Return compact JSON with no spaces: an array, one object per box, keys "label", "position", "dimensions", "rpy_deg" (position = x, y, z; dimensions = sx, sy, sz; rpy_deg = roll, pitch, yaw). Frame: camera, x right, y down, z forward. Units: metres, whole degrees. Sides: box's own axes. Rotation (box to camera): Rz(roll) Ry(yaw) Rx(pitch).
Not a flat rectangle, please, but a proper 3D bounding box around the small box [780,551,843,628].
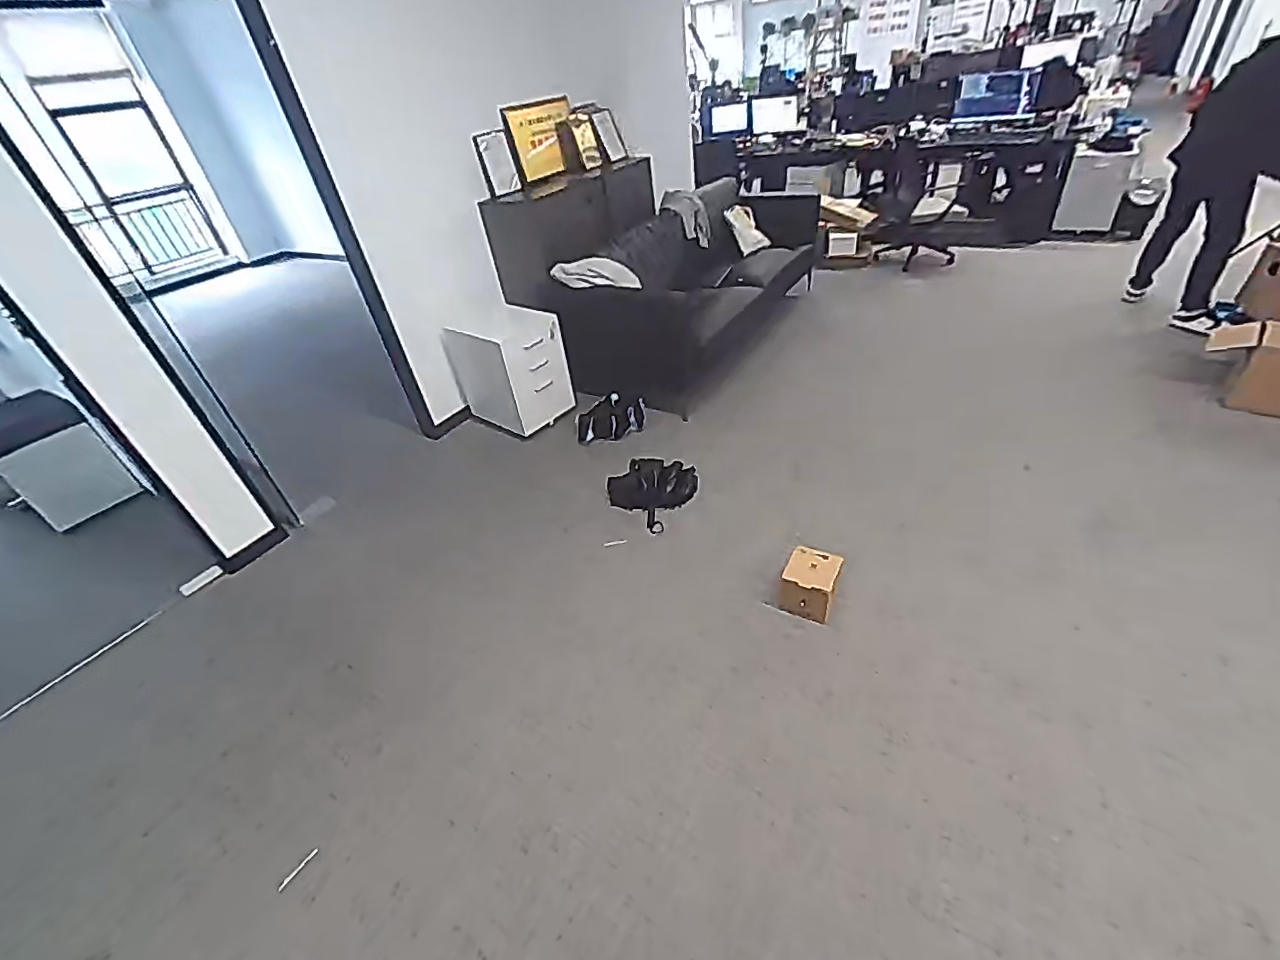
[{"label":"small box","position":[0.597,0.383,1.887],"dimensions":[0.168,0.176,0.179],"rpy_deg":[15,43,29]}]
